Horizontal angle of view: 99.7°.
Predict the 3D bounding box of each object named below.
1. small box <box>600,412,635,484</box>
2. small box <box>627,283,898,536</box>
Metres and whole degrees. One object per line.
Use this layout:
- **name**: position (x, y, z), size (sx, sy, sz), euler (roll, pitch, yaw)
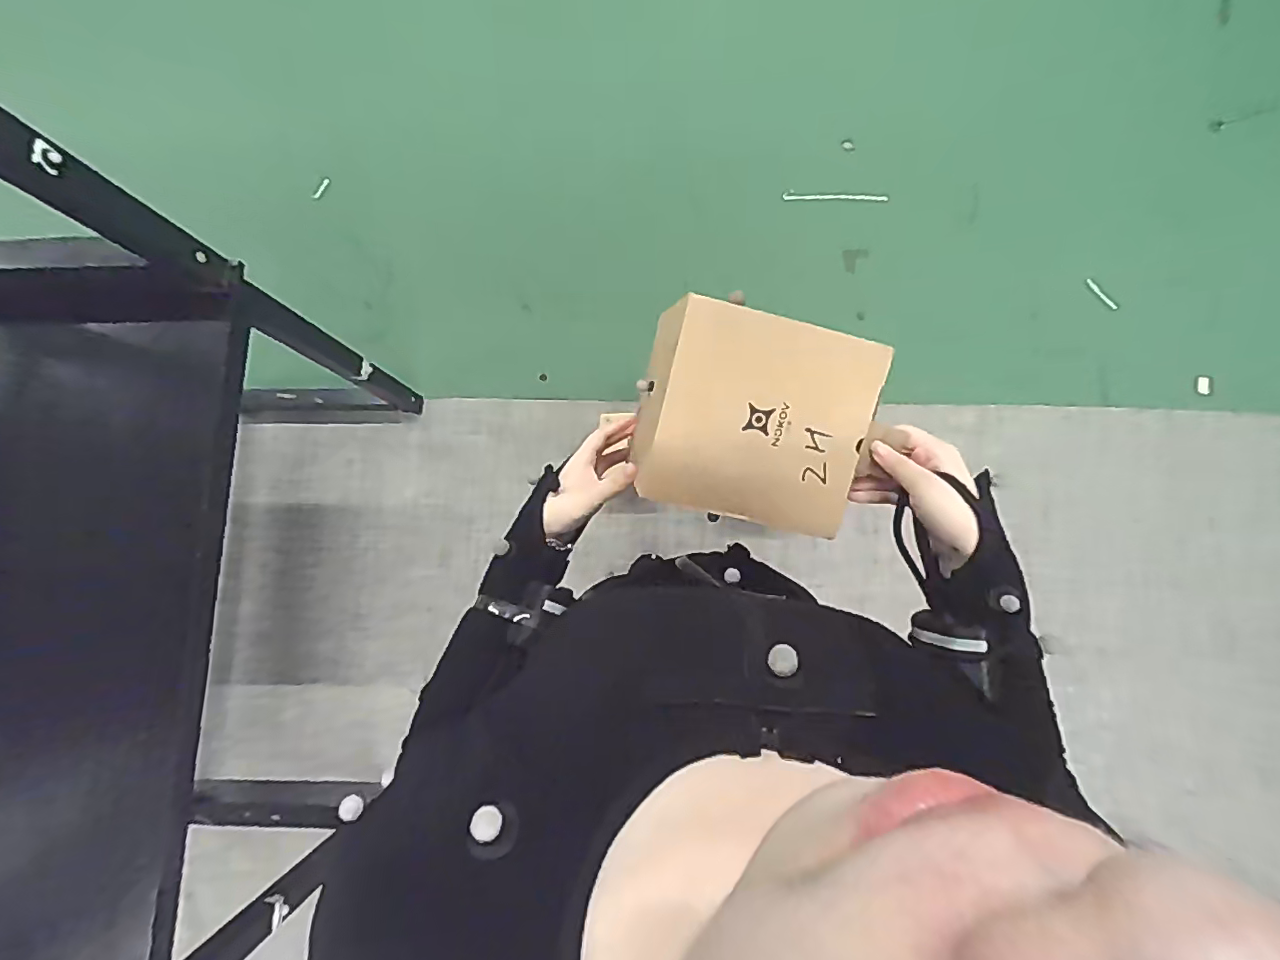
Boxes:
- **small box**: position (-0.015, -0.082, 1.467), size (0.168, 0.176, 0.179), euler (0, 83, 3)
- **small box**: position (0.090, -0.066, 0.499), size (0.179, 0.176, 0.168), euler (13, 102, -8)
